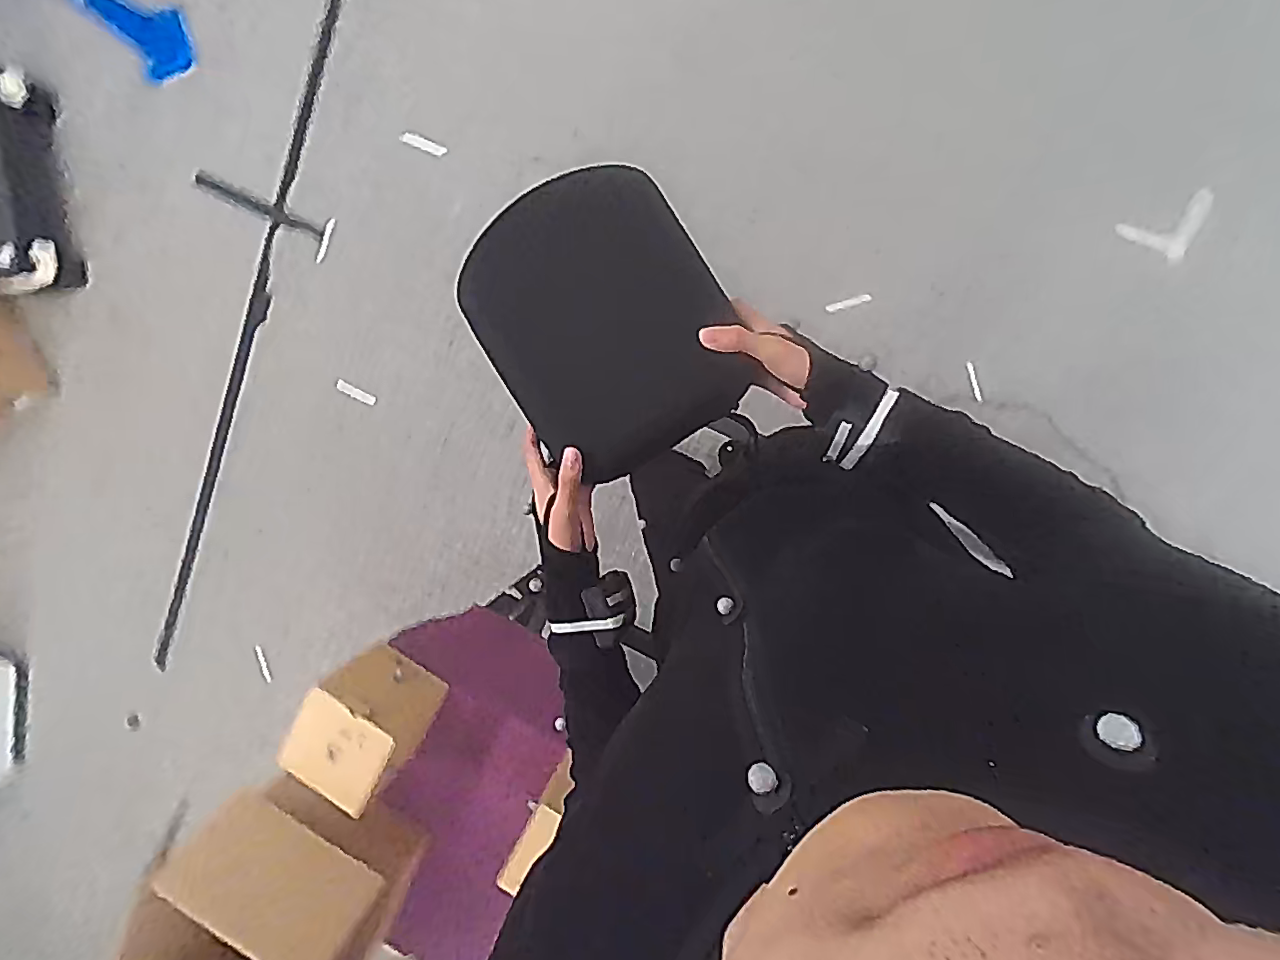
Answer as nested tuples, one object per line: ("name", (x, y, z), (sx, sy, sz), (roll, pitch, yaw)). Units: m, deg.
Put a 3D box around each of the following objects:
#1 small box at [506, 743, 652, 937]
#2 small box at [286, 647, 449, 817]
("small box", (-0.092, 0.595, 0.914), (0.168, 0.176, 0.179), (28, 101, 5))
("small box", (-0.473, 0.436, 0.963), (0.168, 0.176, 0.179), (30, 102, 4))
